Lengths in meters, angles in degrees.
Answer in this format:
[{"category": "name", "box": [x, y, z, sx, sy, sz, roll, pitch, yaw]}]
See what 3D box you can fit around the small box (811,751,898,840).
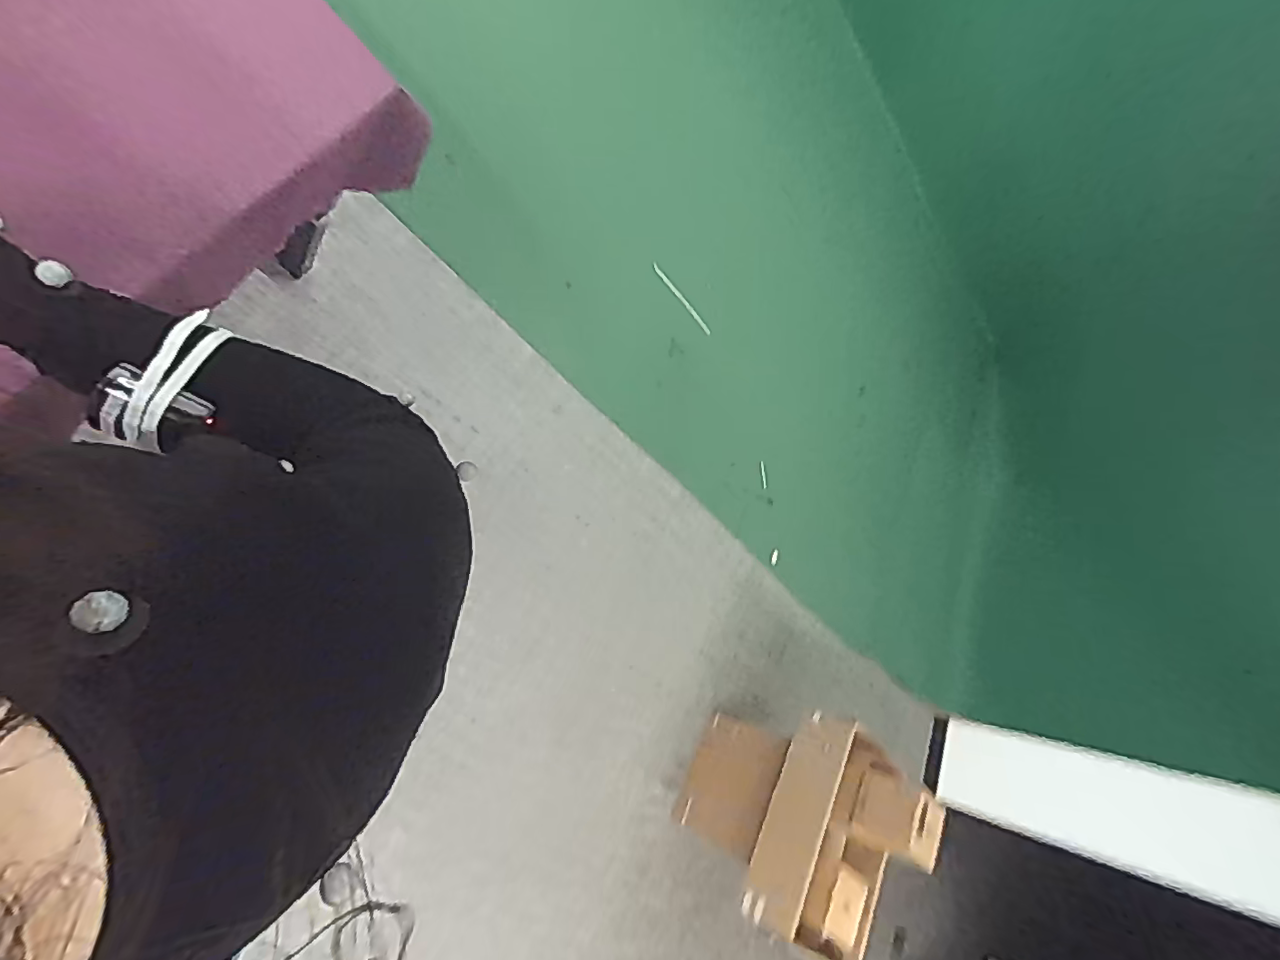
[{"category": "small box", "box": [0.671, 0.981, 1.696, 0.179, 0.176, 0.168, 44, 62, -25]}]
